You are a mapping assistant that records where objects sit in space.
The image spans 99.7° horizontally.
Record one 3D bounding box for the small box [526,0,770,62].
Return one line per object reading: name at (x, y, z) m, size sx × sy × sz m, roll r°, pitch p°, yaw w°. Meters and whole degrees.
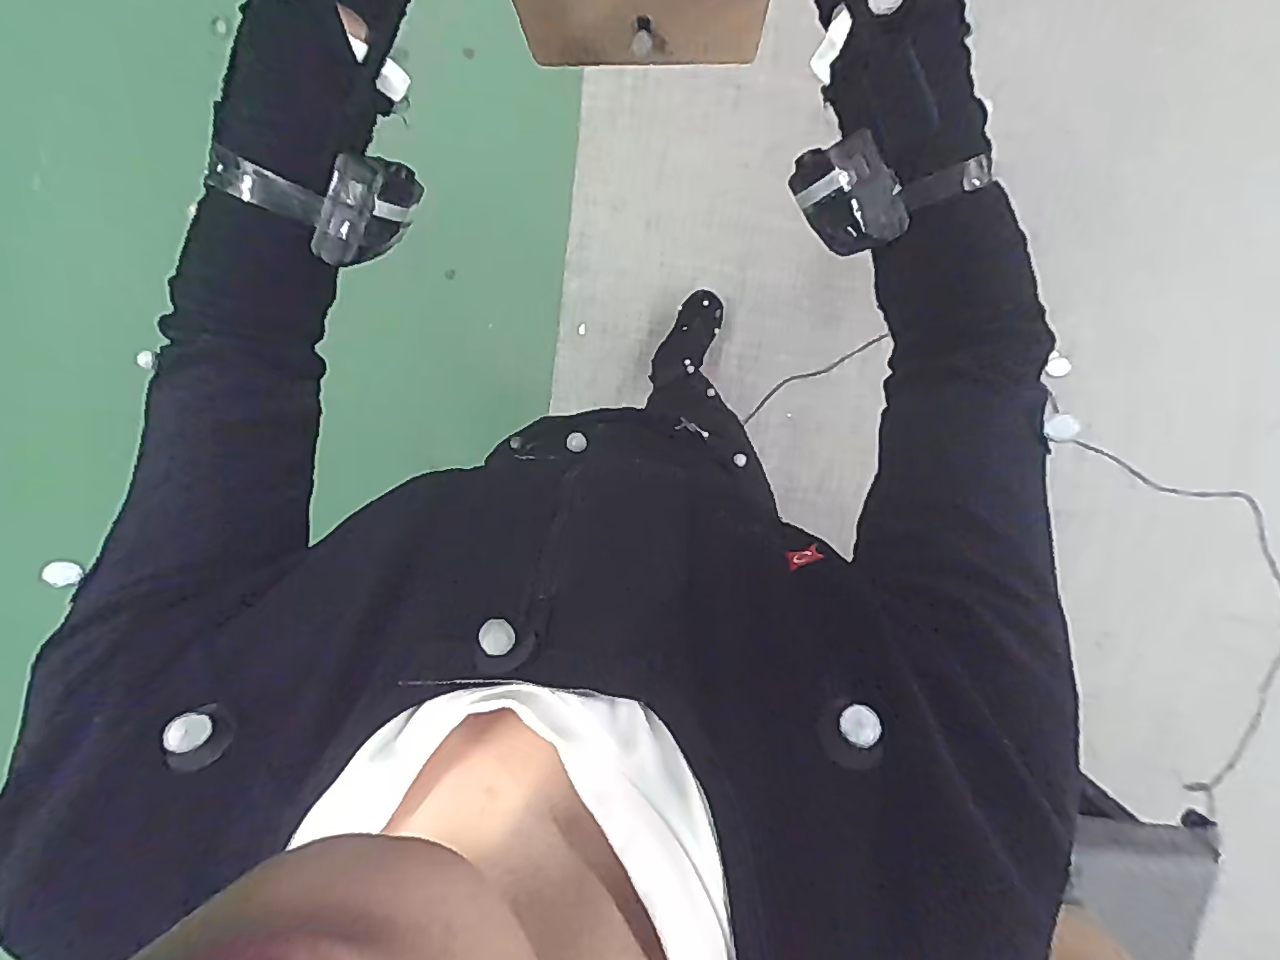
small box at (0.009, -0.405, 0.341) m, size 0.179 × 0.176 × 0.168 m, roll 2°, pitch 93°, yaw 1°
